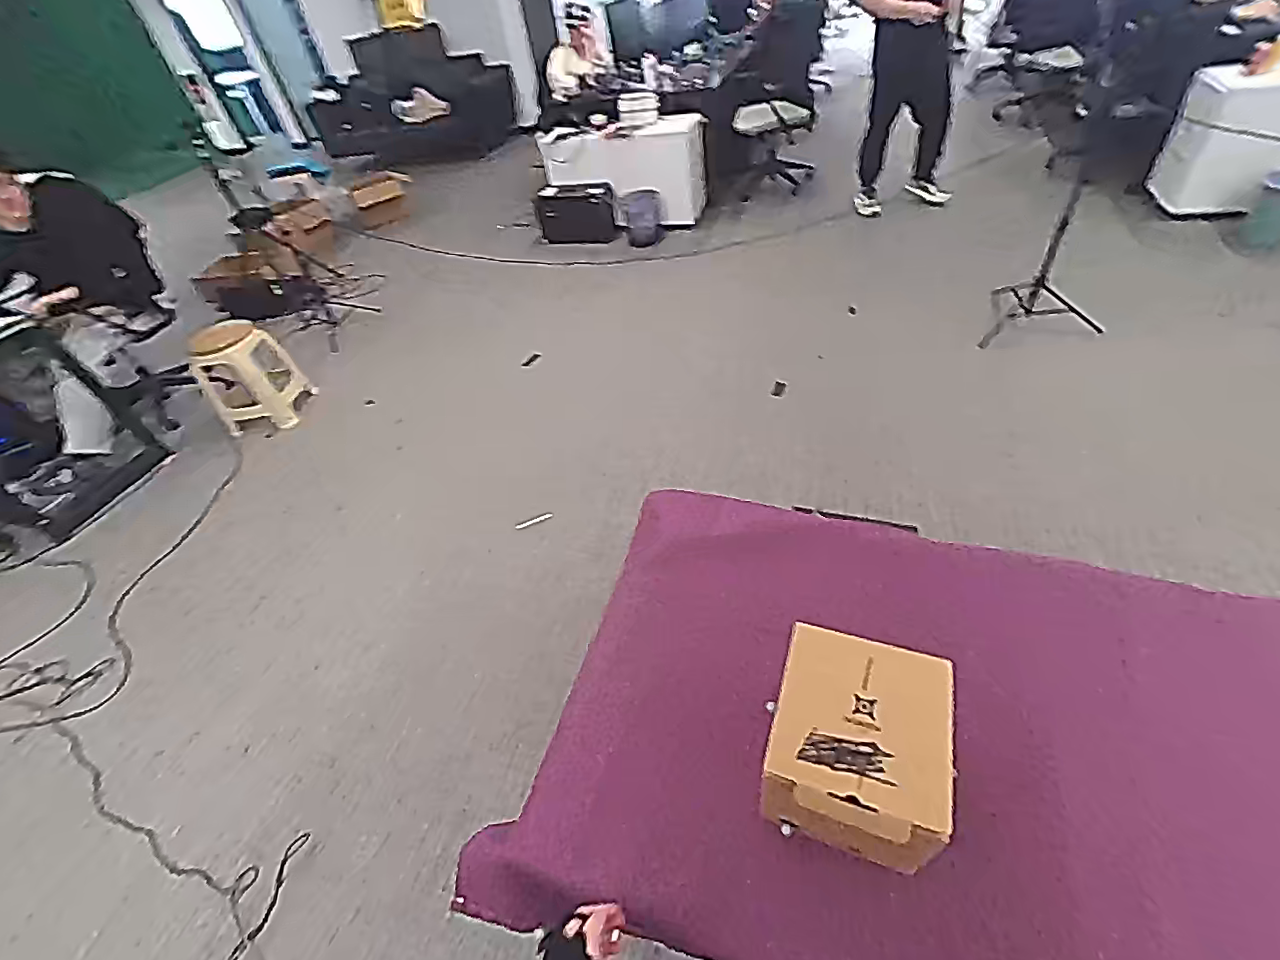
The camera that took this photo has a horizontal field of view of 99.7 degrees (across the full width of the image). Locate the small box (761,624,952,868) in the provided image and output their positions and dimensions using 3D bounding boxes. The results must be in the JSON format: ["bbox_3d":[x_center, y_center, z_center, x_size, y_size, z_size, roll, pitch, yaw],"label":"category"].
[{"bbox_3d":[0.238,0.298,0.608,0.168,0.176,0.179,11,48,21],"label":"small box"}]
